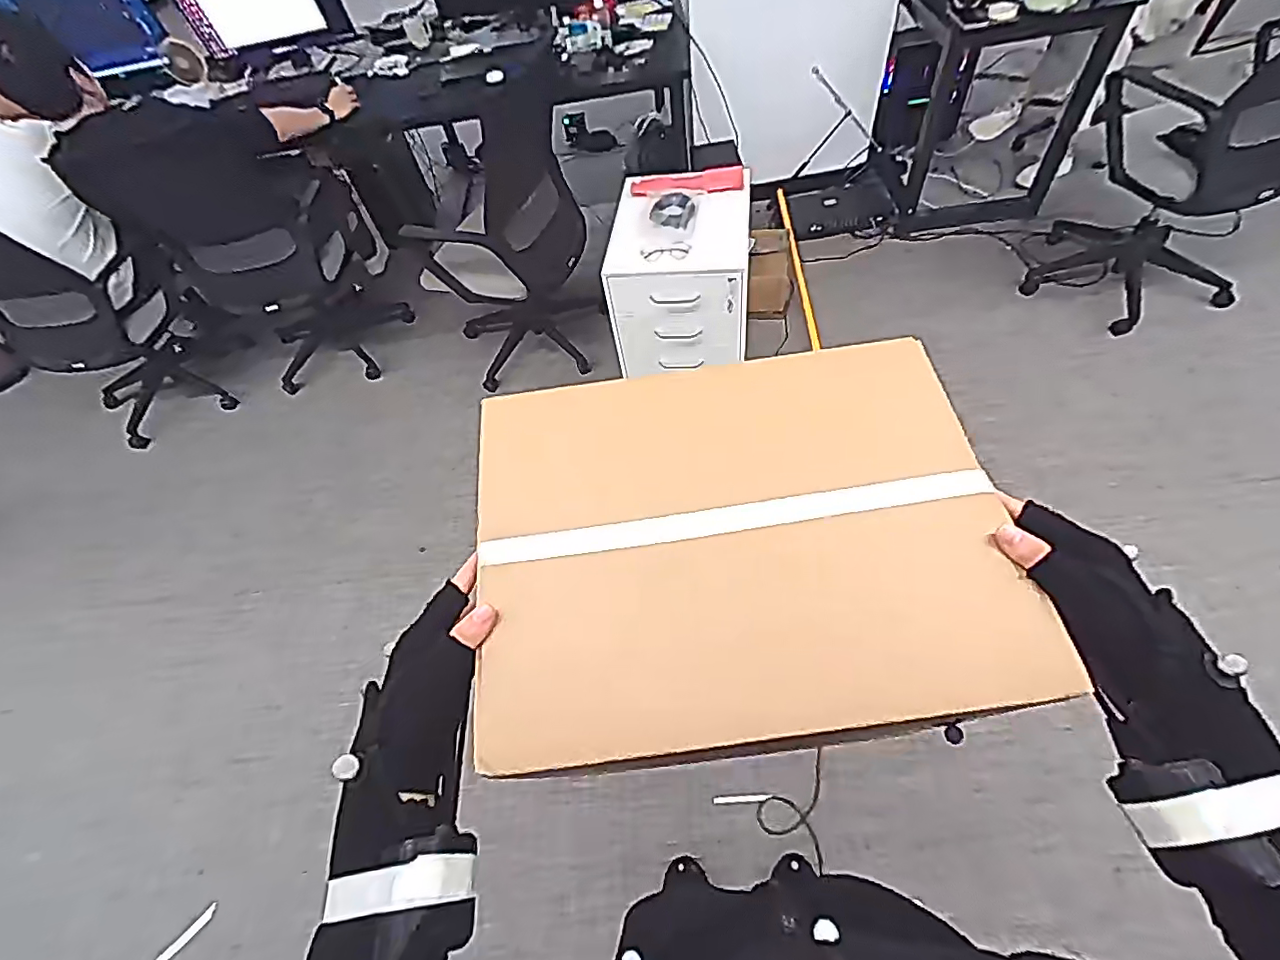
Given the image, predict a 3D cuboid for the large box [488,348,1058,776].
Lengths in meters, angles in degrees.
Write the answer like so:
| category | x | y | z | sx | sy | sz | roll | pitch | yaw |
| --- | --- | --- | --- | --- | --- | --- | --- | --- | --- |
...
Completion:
| category | x | y | z | sx | sy | sz | roll | pitch | yaw |
| --- | --- | --- | --- | --- | --- | --- | --- | --- | --- |
| large box | 0.087 | 0.107 | 0.569 | 0.408 | 0.320 | 0.320 | -8 | 61 | 1 |
